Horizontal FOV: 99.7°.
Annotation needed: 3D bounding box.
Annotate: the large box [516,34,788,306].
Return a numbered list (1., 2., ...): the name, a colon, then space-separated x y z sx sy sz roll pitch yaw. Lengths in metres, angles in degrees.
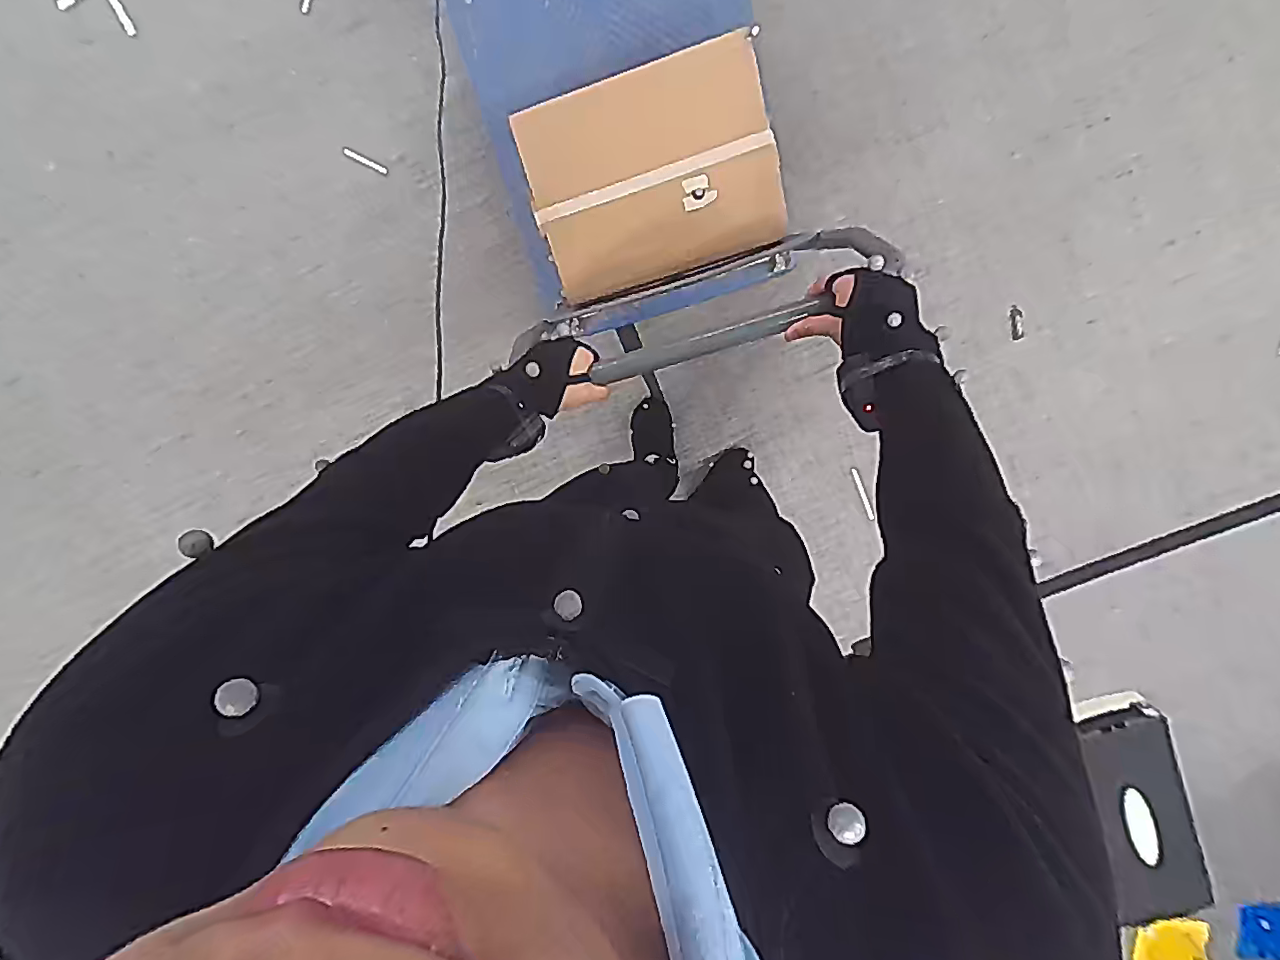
1. large box: 0.028 -0.555 1.059 0.408 0.320 0.320 -16 108 6
